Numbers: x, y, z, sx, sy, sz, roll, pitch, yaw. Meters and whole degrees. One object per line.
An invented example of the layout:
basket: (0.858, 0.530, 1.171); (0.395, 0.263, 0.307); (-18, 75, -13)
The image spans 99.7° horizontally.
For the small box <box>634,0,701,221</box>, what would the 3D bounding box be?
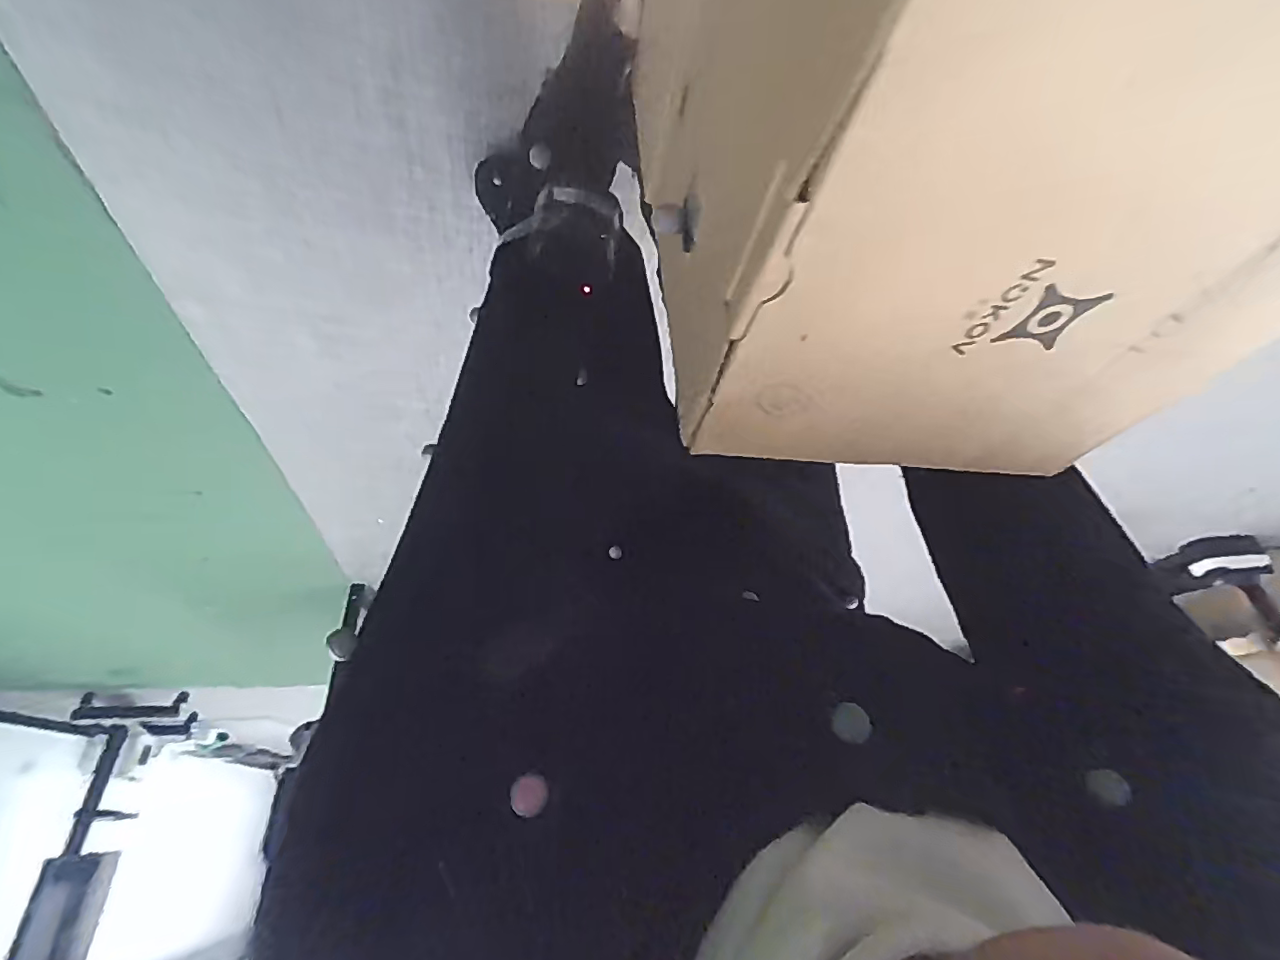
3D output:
small box: (0.097, -0.255, 0.287); (0.179, 0.176, 0.168); (1, 150, -9)

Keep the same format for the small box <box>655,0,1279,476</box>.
small box: (0.107, -0.118, 0.201); (0.179, 0.176, 0.168); (2, 150, -11)
